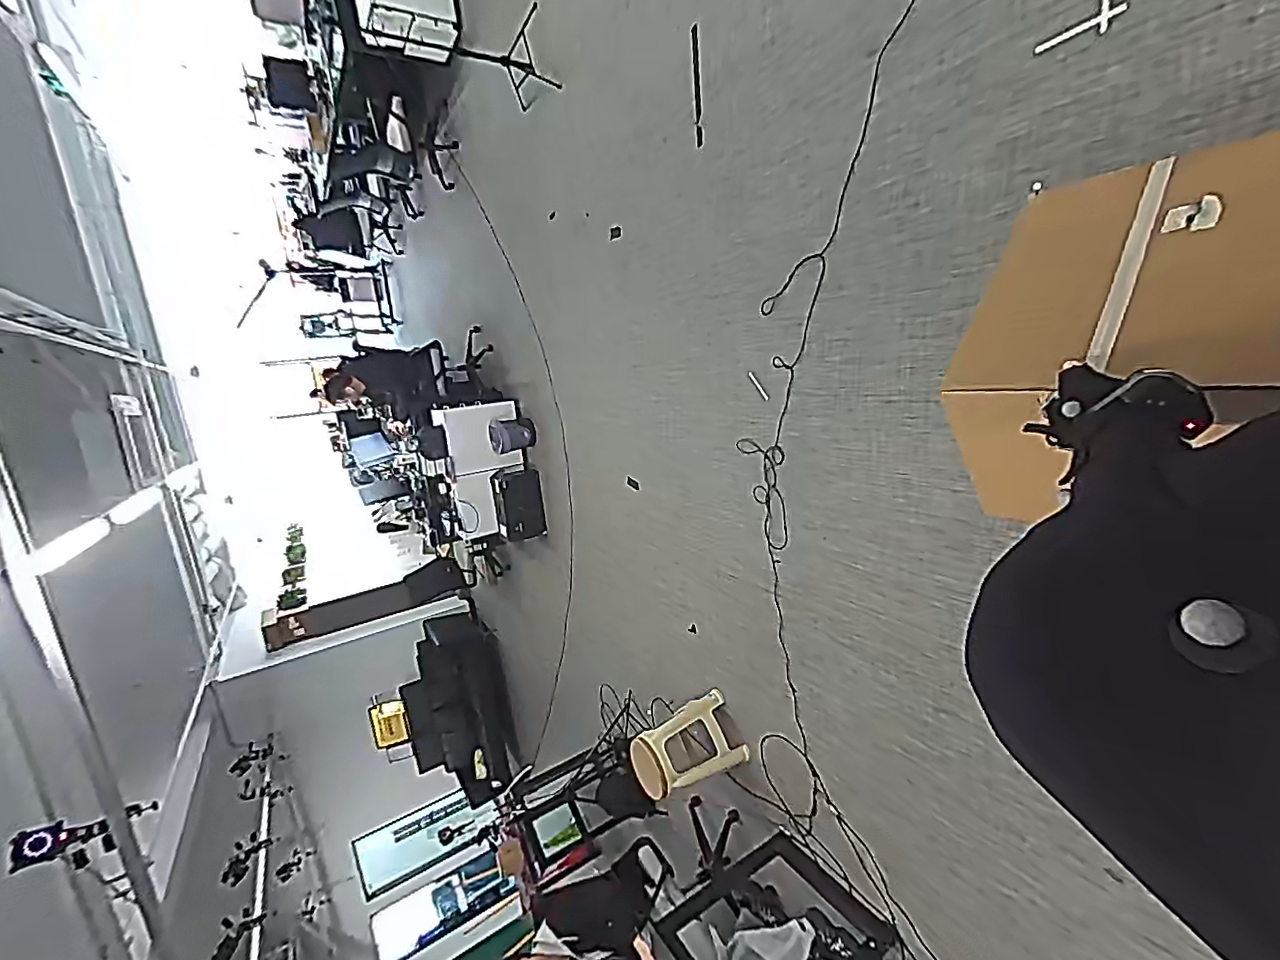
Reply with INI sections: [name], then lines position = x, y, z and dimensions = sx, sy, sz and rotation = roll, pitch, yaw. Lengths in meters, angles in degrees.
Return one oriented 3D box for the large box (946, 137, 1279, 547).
[large box]
position = 0.692, -0.172, 0.750
dimensions = 0.320, 0.408, 0.320
rotation = 11, 153, 51
